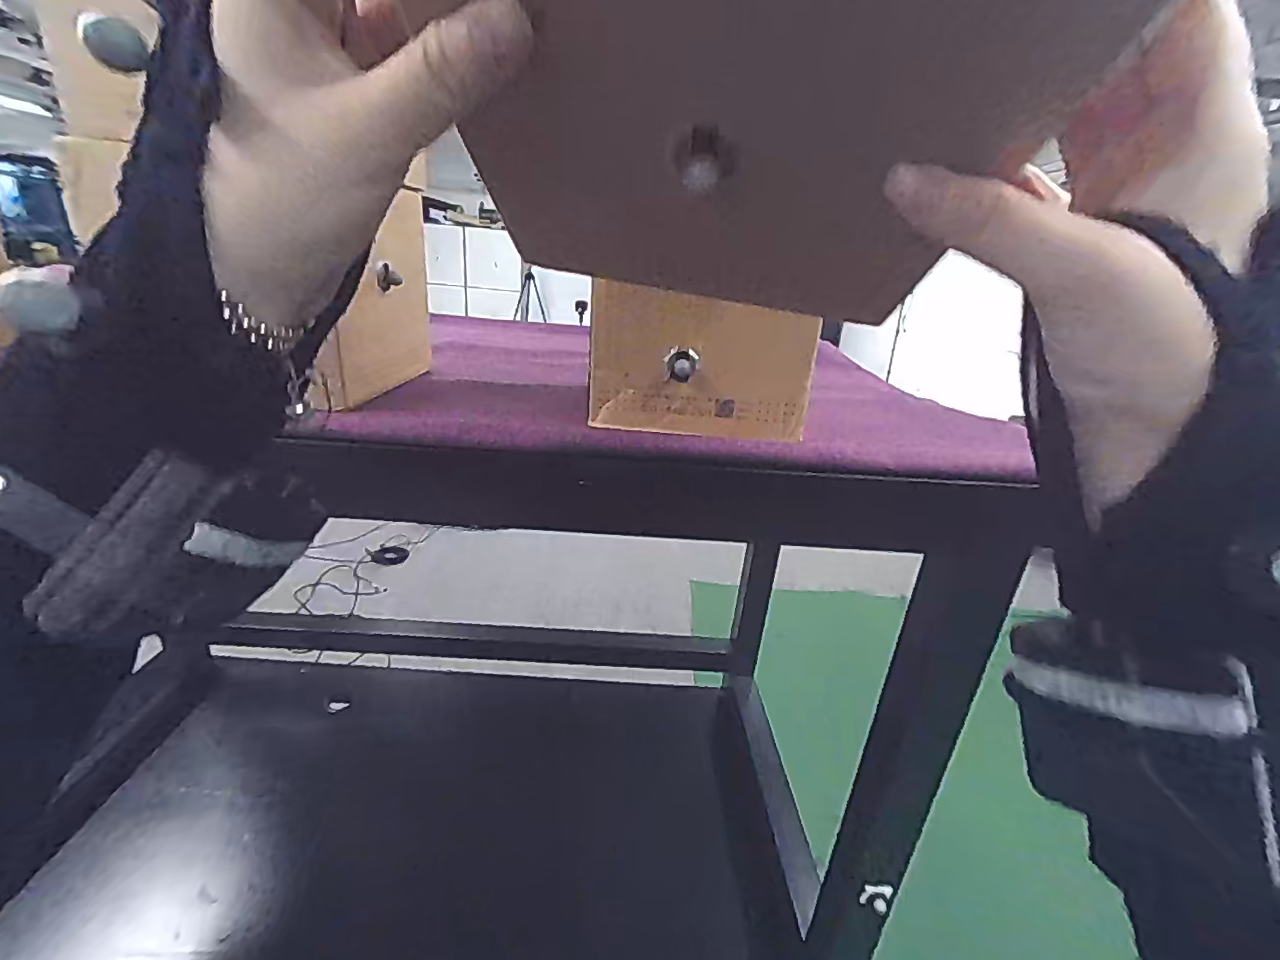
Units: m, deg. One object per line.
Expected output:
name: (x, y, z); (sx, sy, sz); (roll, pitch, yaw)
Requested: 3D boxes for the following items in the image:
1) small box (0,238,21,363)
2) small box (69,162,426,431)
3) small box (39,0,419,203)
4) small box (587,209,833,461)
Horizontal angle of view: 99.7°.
small box: (-0.664, -0.171, 0.424); (0.168, 0.176, 0.179); (4, 22, -2)
small box: (-0.292, -0.151, 0.453); (0.168, 0.176, 0.179); (4, 23, -1)
small box: (-0.279, -0.306, 0.401); (0.168, 0.176, 0.179); (4, 23, -1)
small box: (0.046, -0.129, 0.468); (0.168, 0.176, 0.179); (4, 24, 0)
